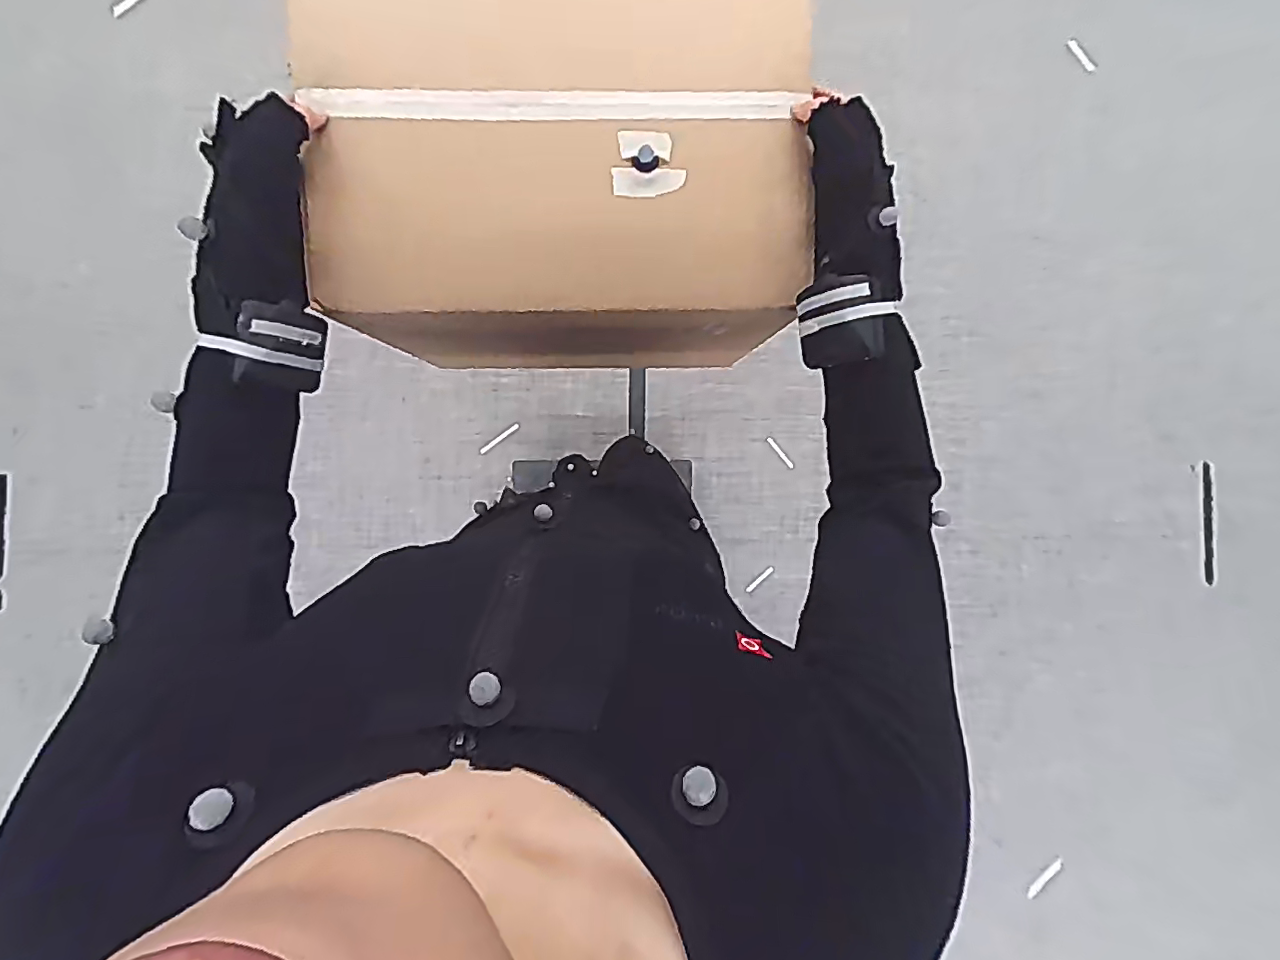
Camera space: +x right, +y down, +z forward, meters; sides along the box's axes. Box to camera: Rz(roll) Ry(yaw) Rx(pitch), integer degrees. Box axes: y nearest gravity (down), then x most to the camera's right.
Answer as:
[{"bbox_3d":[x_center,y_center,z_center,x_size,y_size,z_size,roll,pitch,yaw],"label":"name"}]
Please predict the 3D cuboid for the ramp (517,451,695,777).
[{"bbox_3d":[-0.088,0.411,1.568,0.509,0.206,0.991,-2,91,-3],"label":"ramp"}]

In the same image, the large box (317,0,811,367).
[{"bbox_3d":[-0.066,-0.307,0.592,0.408,0.320,0.320,-1,93,-3],"label":"large box"}]
